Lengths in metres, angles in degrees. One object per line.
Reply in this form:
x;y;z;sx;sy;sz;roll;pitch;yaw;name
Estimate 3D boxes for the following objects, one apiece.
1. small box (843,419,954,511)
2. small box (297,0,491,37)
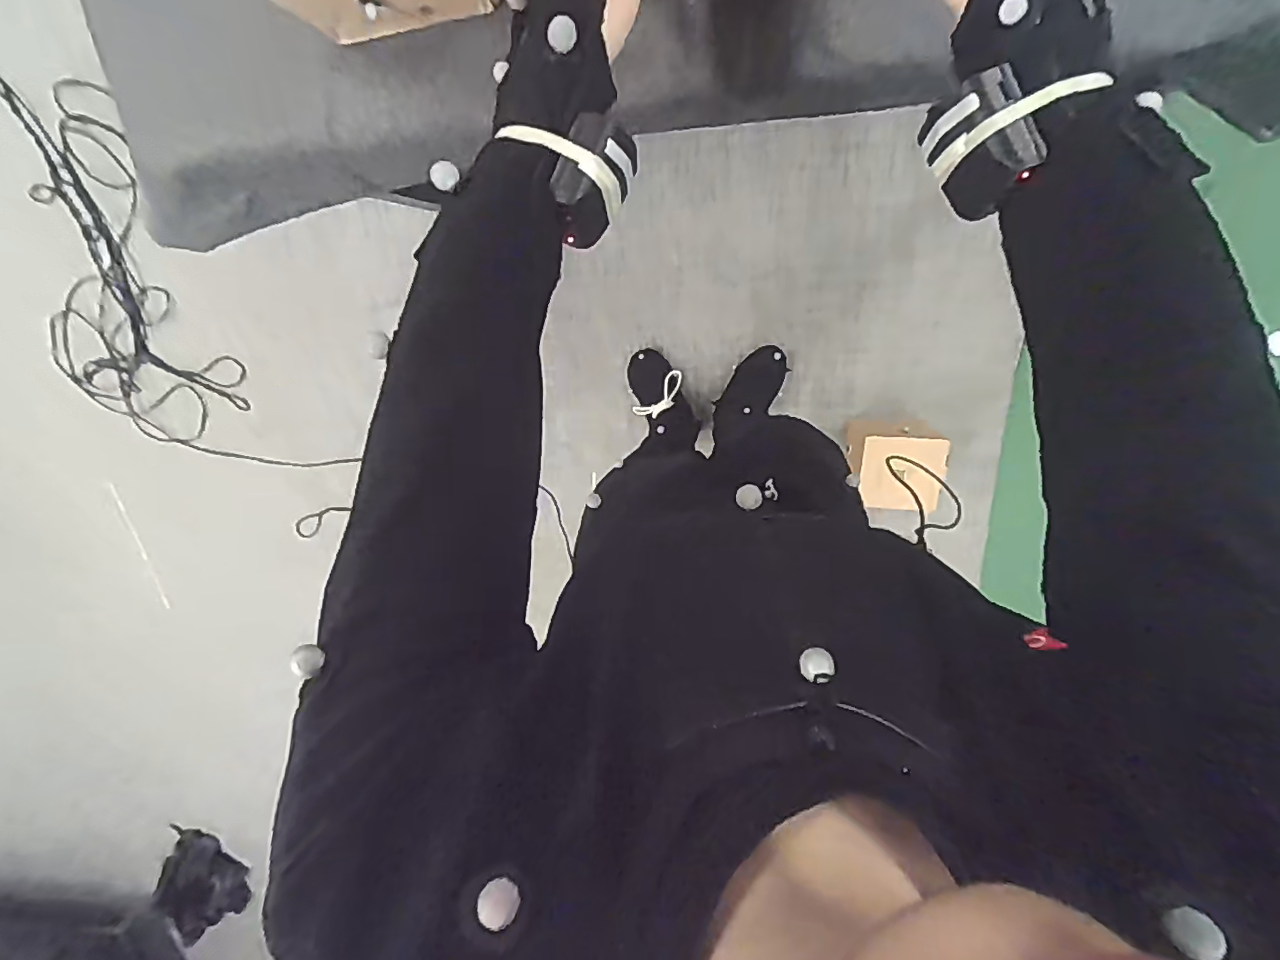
0.578;-0.040;1.233;0.179;0.176;0.168;3;110;9;small box
-0.228;-0.481;0.402;0.168;0.176;0.179;-5;110;9;small box
